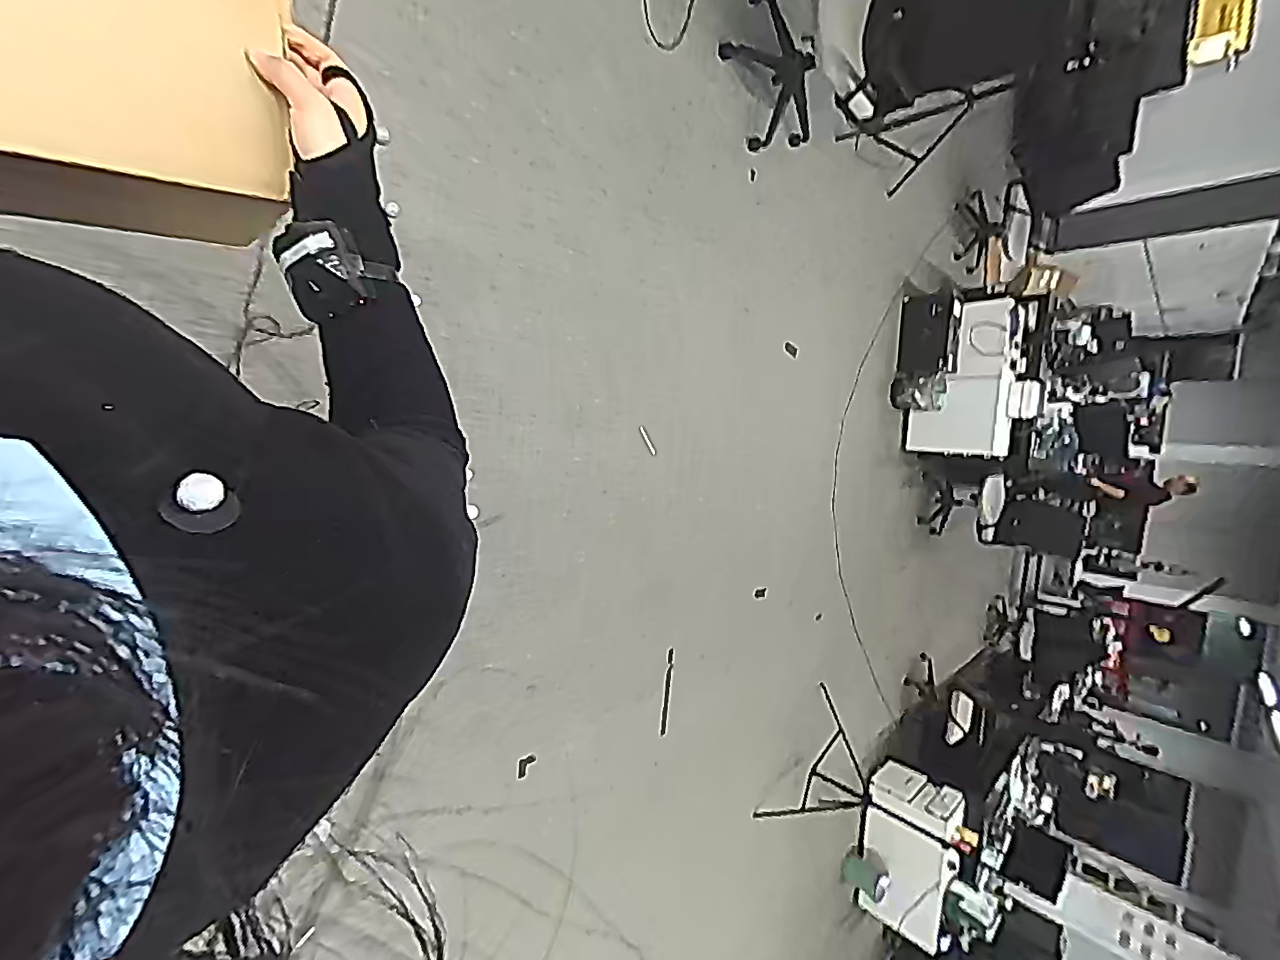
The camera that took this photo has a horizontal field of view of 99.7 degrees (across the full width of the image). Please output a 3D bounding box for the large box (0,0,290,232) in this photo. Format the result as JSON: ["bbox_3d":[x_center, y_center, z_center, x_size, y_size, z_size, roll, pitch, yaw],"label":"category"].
[{"bbox_3d":[-0.527,-0.387,0.389,0.408,0.320,0.320,-9,107,-40],"label":"large box"}]
